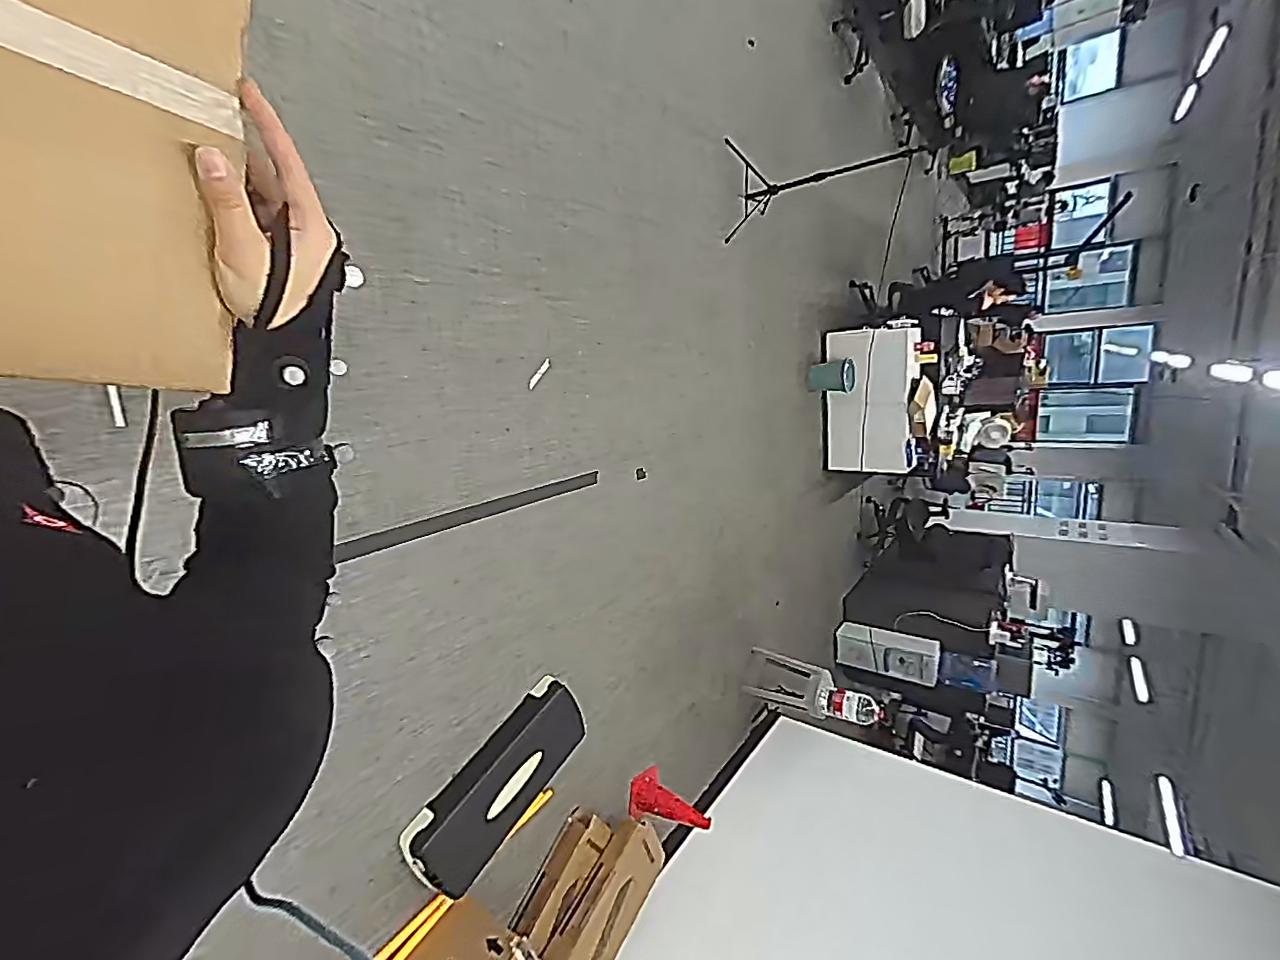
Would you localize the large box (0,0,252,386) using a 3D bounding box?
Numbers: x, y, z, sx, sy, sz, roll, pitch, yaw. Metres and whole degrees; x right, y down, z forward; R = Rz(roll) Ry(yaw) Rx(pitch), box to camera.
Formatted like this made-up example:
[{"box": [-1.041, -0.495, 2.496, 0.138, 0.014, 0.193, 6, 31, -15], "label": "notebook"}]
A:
[{"box": [-0.471, -0.235, 0.251, 0.408, 0.320, 0.320, -4, 109, -52], "label": "large box"}]
